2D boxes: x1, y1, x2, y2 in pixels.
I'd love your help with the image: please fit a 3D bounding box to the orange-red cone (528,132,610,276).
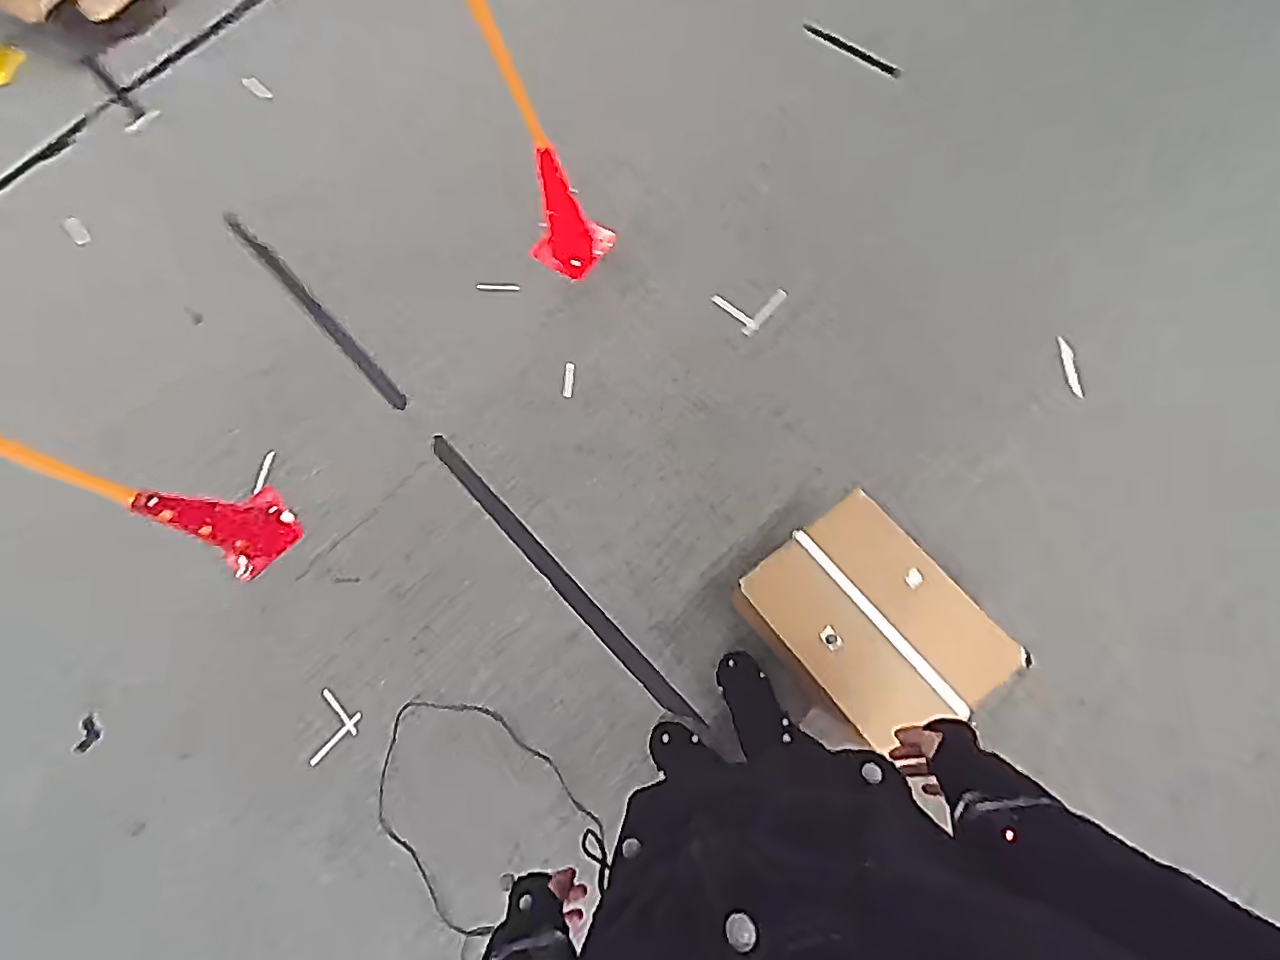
[{"bbox_3d":[-0.229,-0.772,1.465,0.198,0.360,0.199,34,79,13],"label":"orange-red cone"}]
